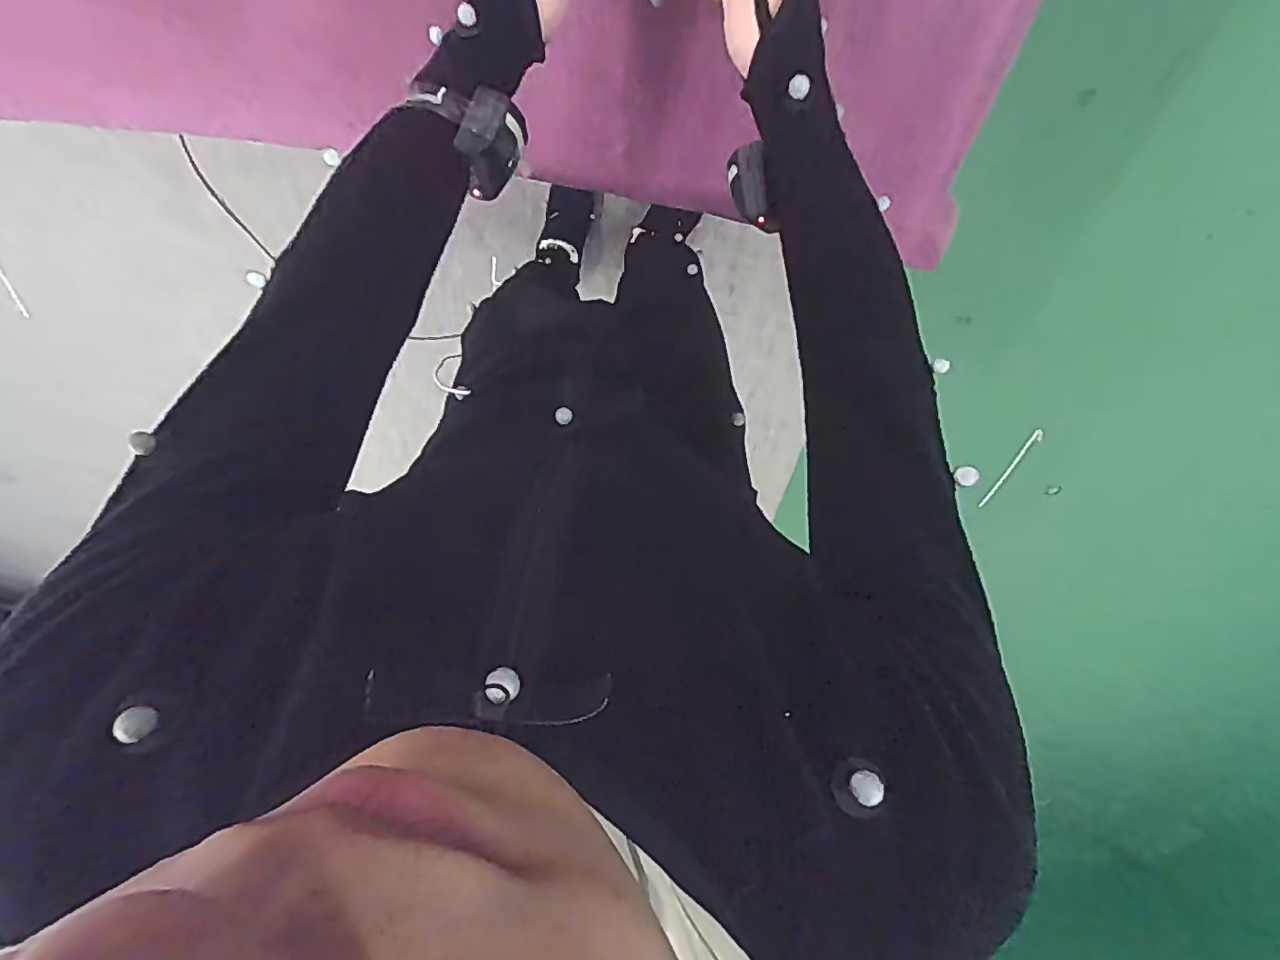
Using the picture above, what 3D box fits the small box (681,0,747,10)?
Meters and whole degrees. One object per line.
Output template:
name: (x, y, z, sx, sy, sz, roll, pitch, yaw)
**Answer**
small box: (0.030, -0.512, 0.435, 0.168, 0.176, 0.179, 12, 129, -1)
